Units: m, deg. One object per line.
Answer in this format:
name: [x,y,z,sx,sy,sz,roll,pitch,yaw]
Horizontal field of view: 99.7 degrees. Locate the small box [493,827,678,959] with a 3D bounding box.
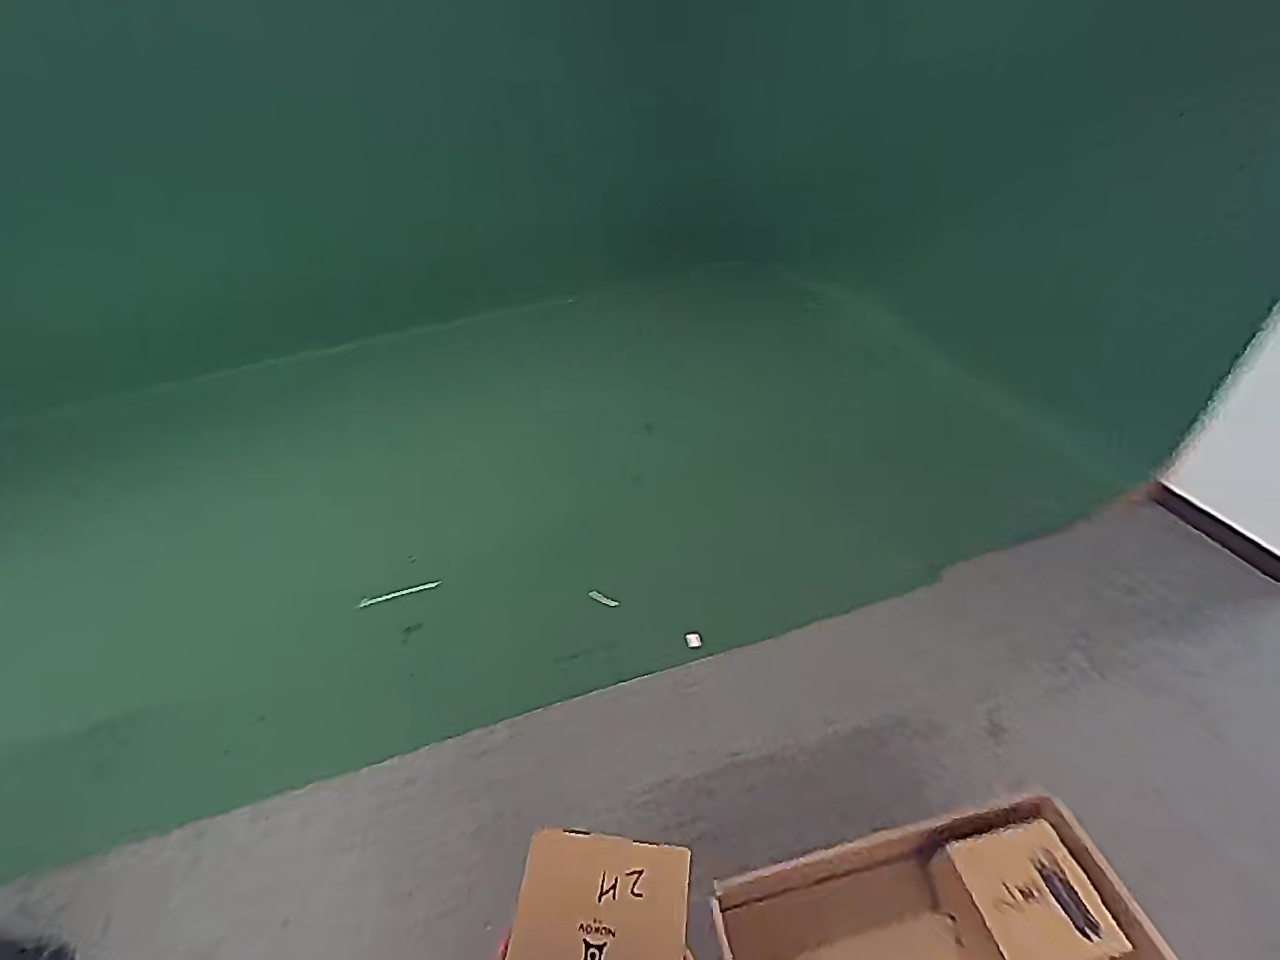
small box: [-0.050,0.485,0.558,0.168,0.176,0.179,5,48,5]
